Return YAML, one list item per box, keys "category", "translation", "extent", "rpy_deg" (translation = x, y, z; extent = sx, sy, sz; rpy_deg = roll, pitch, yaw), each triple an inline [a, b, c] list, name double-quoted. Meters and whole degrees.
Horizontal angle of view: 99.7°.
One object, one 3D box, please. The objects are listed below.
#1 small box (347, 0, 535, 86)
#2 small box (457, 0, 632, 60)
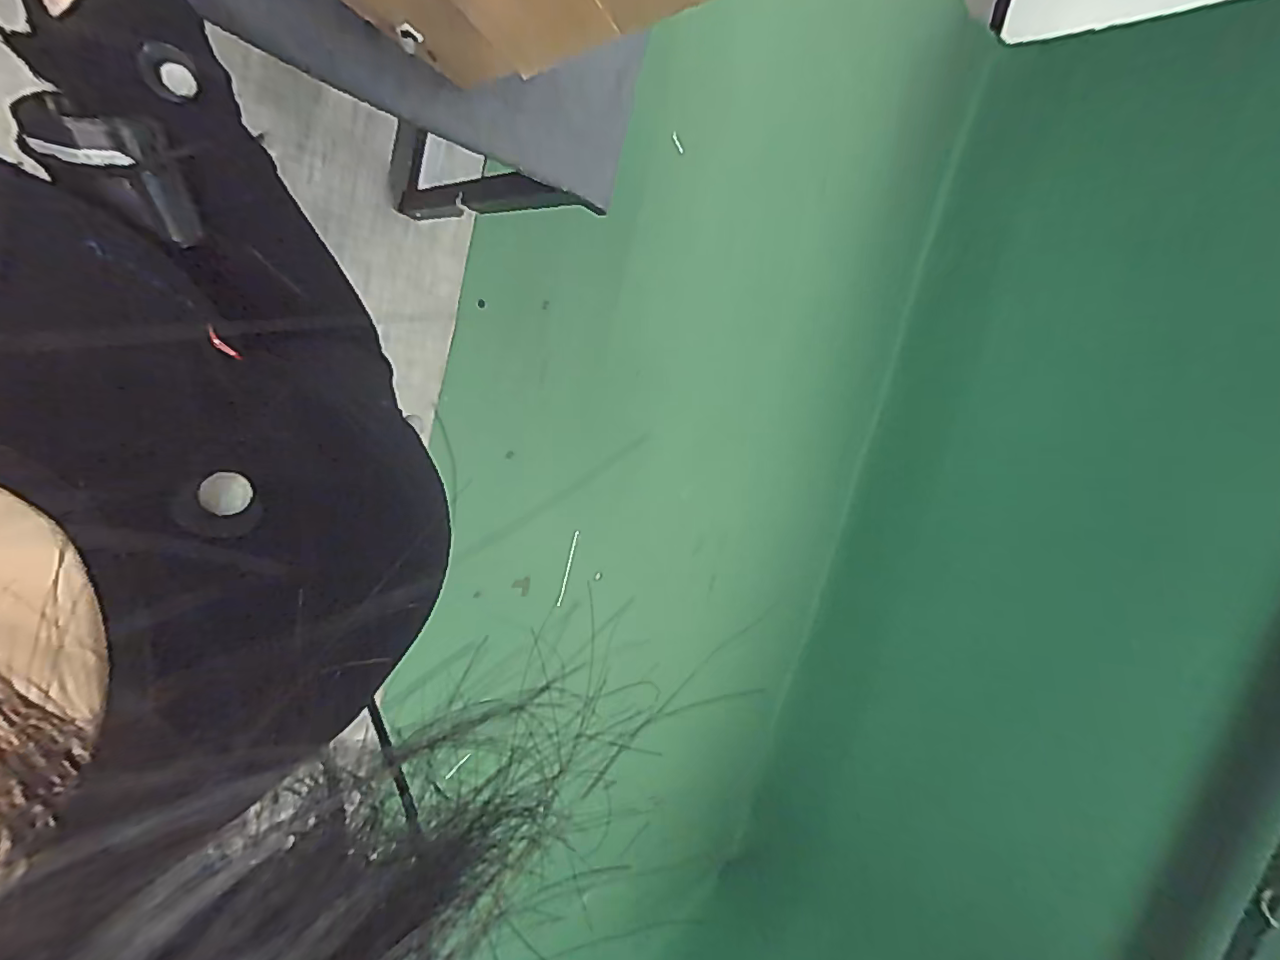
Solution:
- category: "small box"
  translation: [-0.203, -0.581, 0.590]
  extent: [0.168, 0.176, 0.179]
  rpy_deg: [8, 100, -47]
- category: "small box"
  translation: [-0.094, -0.524, 0.484]
  extent: [0.179, 0.176, 0.168]
  rpy_deg: [24, 87, -47]
